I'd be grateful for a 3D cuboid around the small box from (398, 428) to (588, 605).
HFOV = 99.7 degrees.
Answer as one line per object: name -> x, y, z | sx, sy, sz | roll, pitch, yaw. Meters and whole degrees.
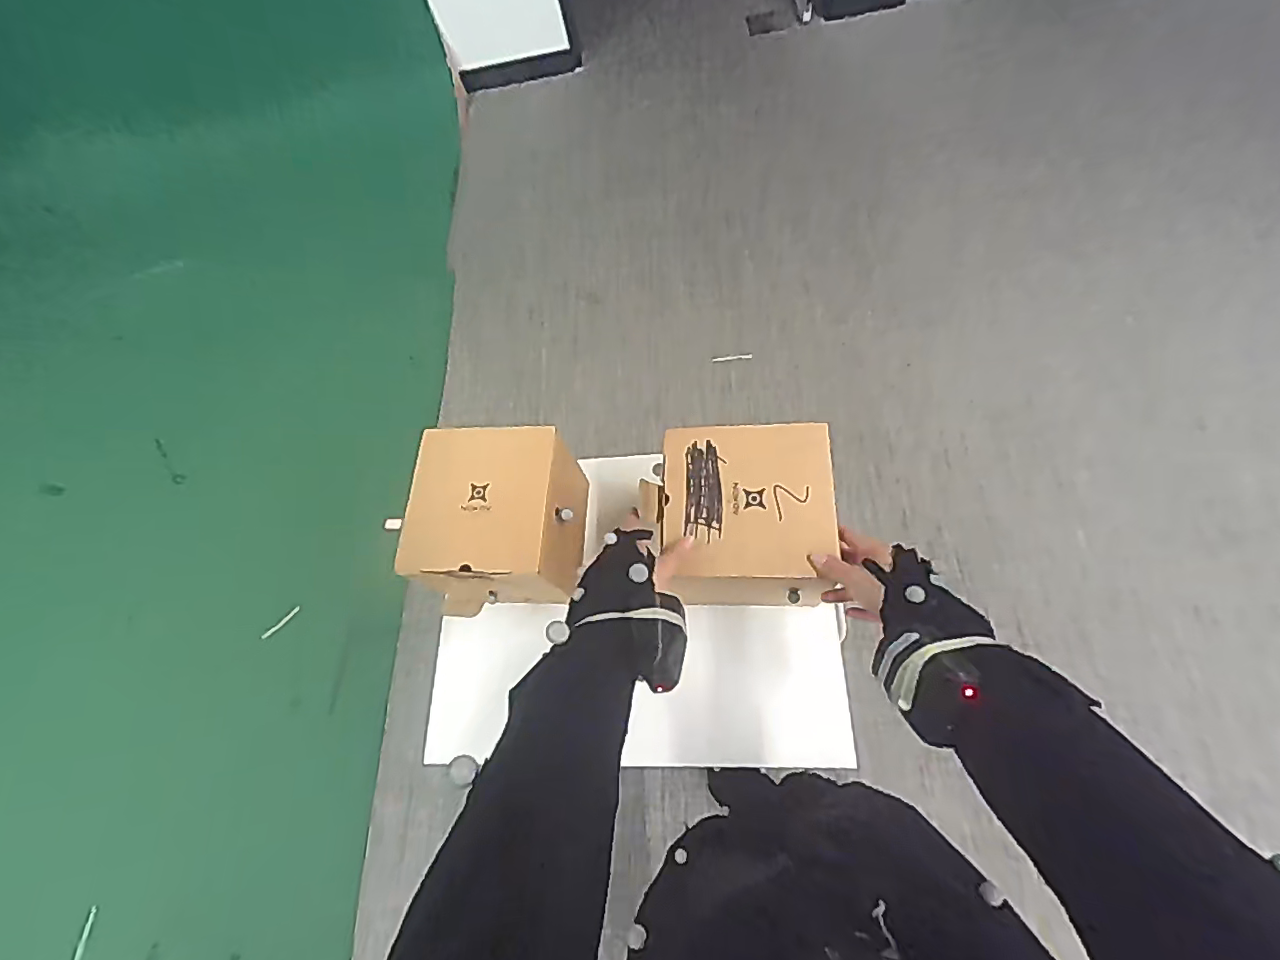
small box -> -0.164, 0.051, 0.671 | 0.168, 0.176, 0.179 | -1, 68, 8
